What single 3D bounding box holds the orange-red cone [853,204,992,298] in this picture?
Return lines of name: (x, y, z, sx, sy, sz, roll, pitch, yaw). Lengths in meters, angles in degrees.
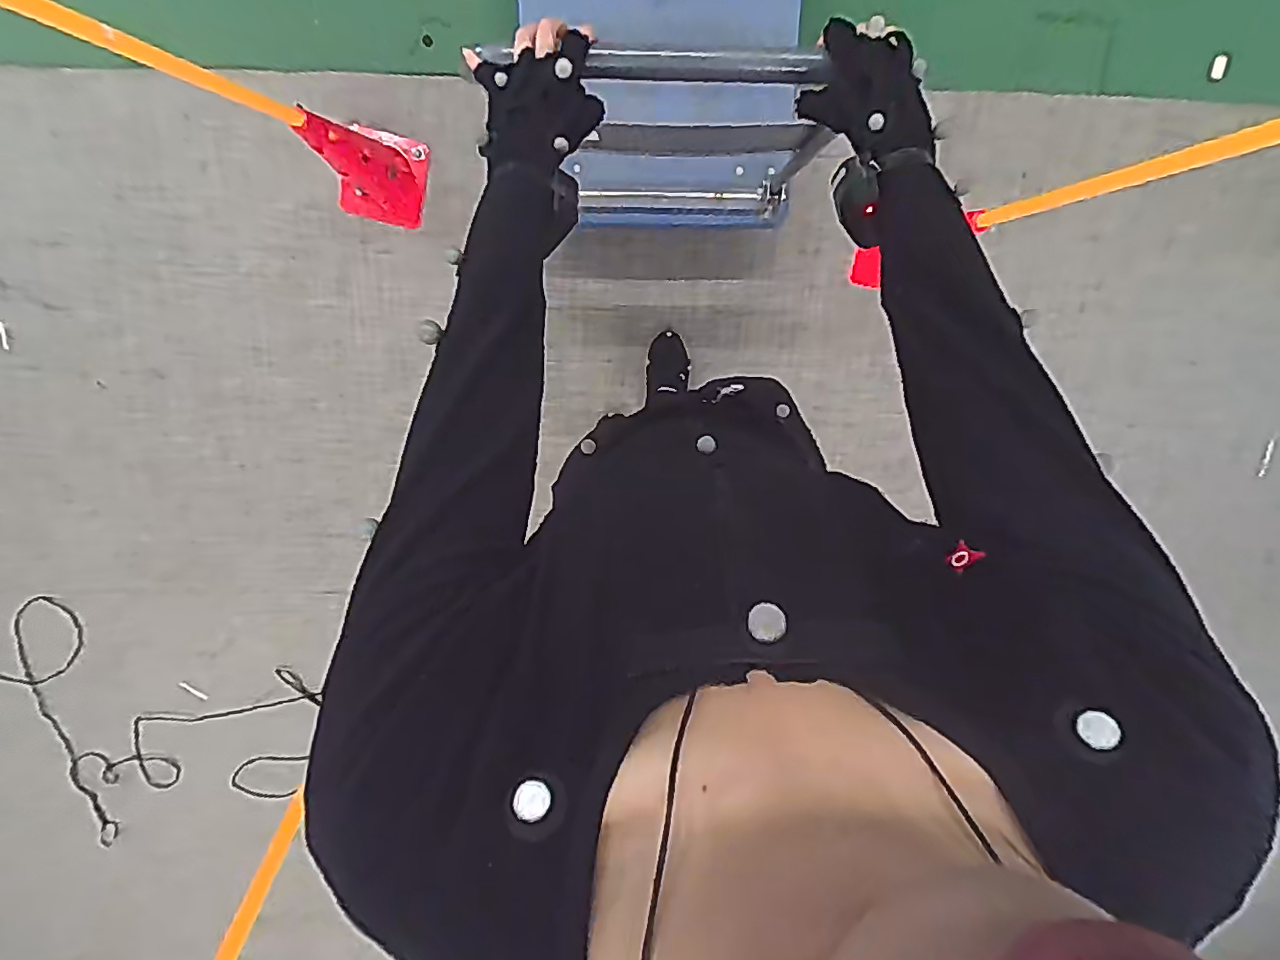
orange-red cone: (0.659, -0.540, 1.209, 0.198, 0.360, 0.199, 12, 104, -3)
